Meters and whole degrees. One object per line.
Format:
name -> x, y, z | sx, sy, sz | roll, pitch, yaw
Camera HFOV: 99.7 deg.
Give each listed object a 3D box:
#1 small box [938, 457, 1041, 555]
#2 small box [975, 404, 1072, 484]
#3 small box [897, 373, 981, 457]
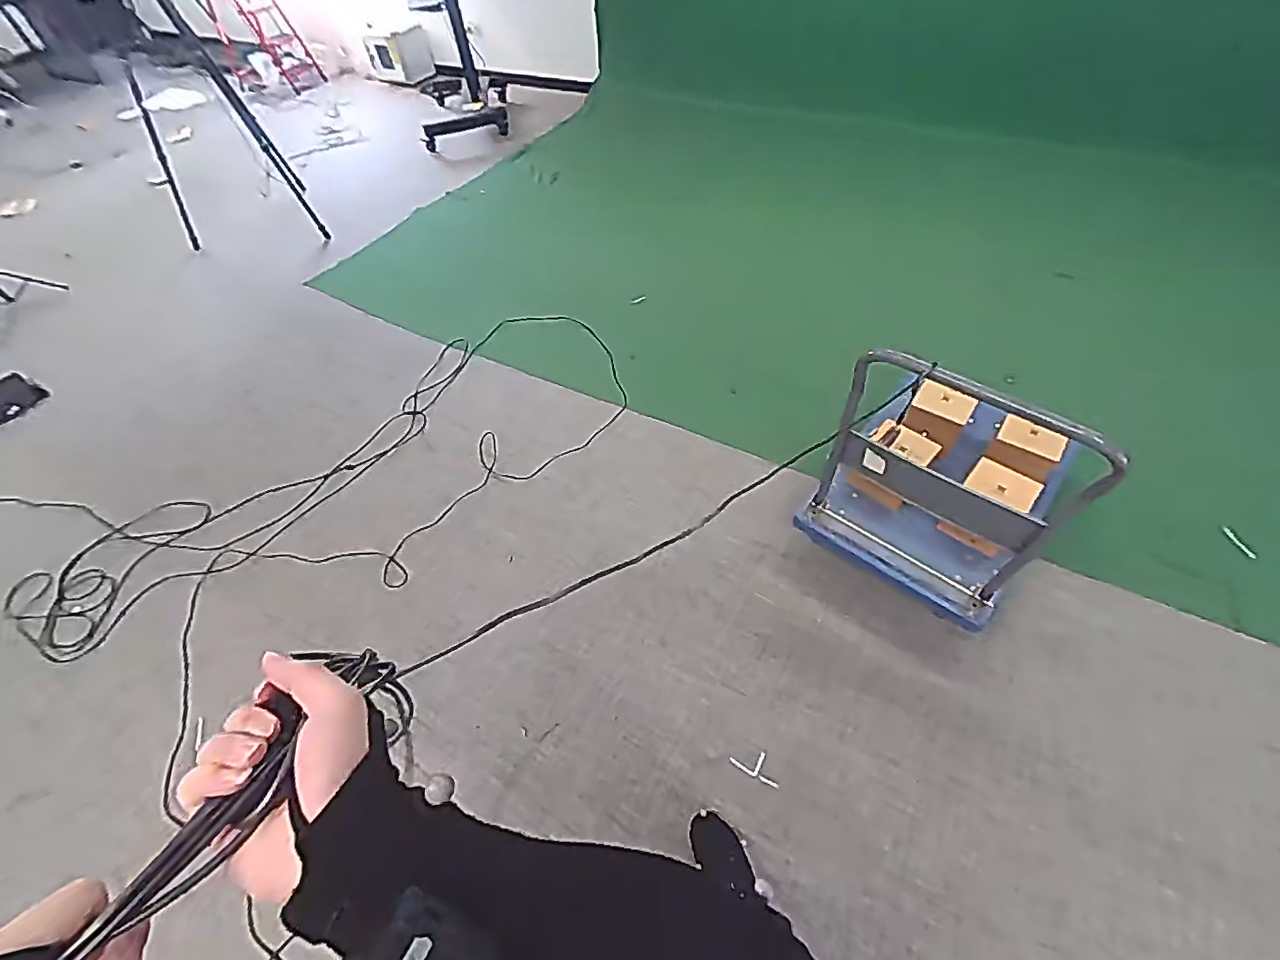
small box -> 0.979, 0.076, 1.529 | 0.168, 0.176, 0.179 | 34, 63, 27
small box -> 1.157, -0.094, 1.642 | 0.168, 0.176, 0.179 | 30, 61, 25
small box -> 0.957, -0.206, 1.745 | 0.168, 0.176, 0.179 | 30, 60, 24
